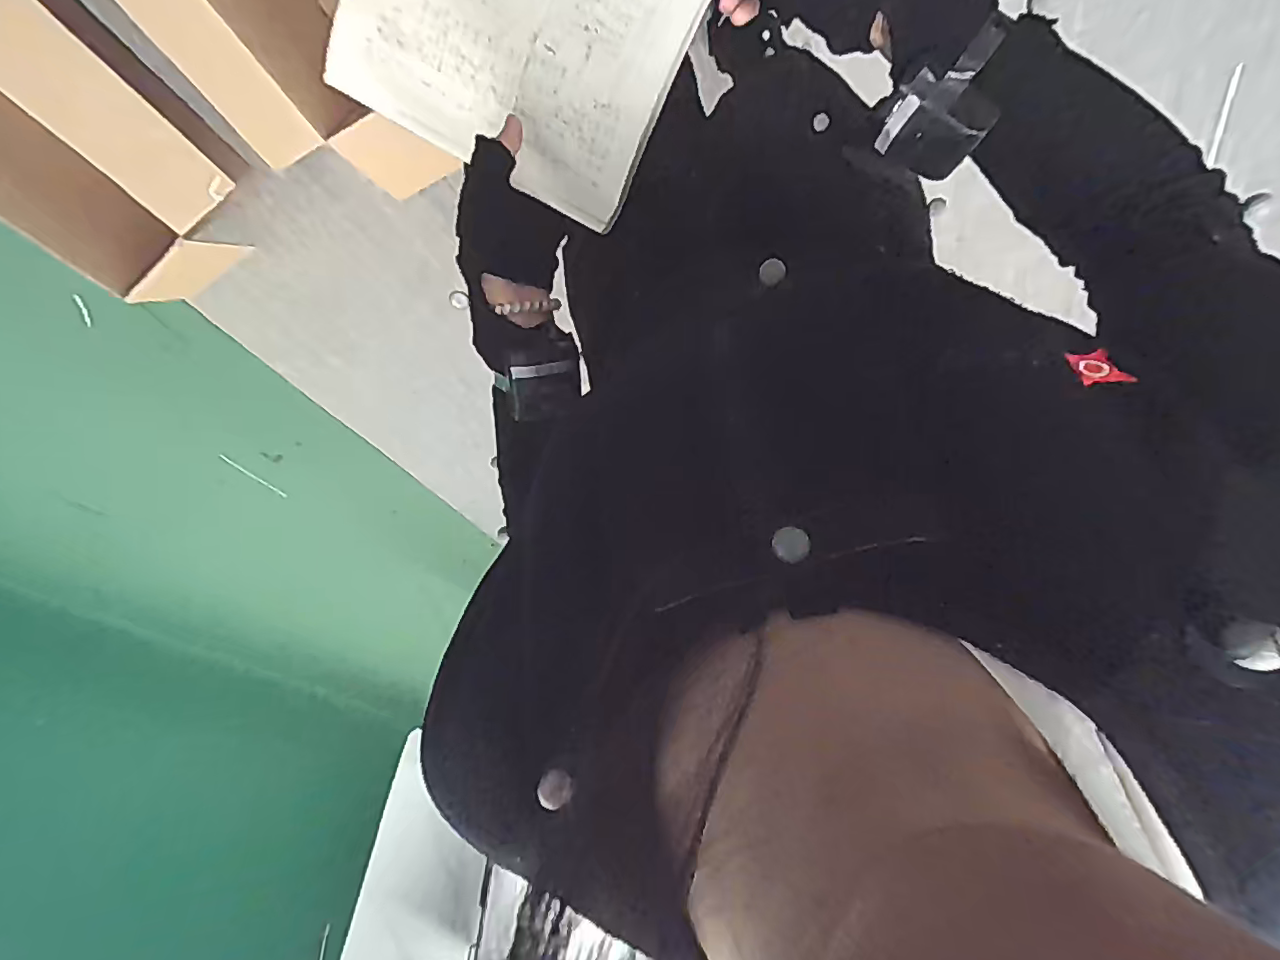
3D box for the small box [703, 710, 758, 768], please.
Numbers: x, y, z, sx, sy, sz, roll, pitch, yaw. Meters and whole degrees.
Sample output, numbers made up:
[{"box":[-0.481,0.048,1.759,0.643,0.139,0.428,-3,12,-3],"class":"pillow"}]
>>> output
[{"box":[0.352,1.002,2.092,0.179,0.176,0.168,-12,139,22],"class":"small box"}]
